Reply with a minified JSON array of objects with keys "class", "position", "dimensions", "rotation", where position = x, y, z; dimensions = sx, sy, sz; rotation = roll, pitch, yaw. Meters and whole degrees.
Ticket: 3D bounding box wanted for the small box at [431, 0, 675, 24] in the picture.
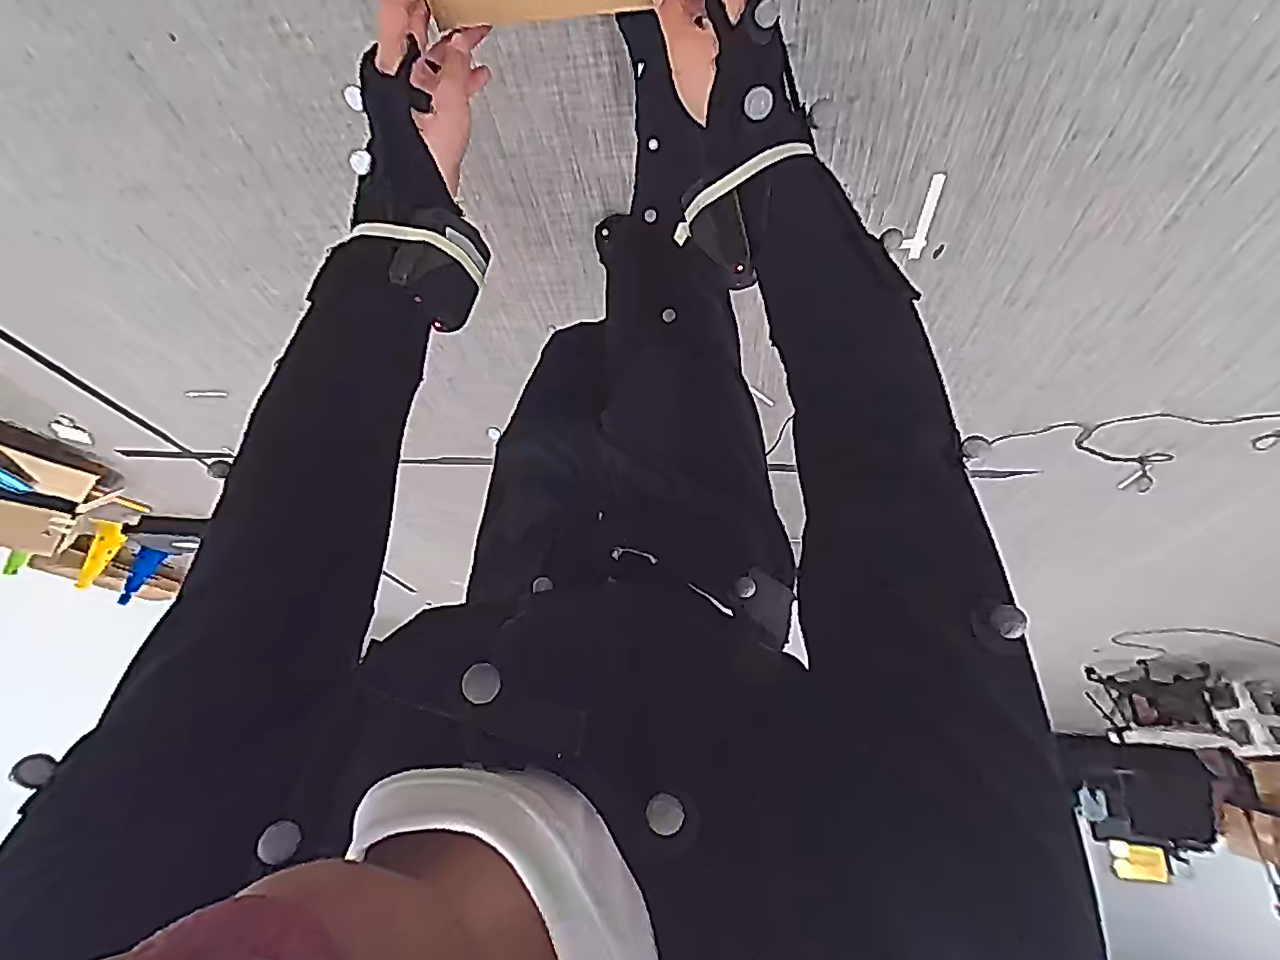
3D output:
[{"class":"small box","position":[-0.058,-0.424,0.327],"dimensions":[0.168,0.176,0.179],"rotation":[2,151,8]}]
